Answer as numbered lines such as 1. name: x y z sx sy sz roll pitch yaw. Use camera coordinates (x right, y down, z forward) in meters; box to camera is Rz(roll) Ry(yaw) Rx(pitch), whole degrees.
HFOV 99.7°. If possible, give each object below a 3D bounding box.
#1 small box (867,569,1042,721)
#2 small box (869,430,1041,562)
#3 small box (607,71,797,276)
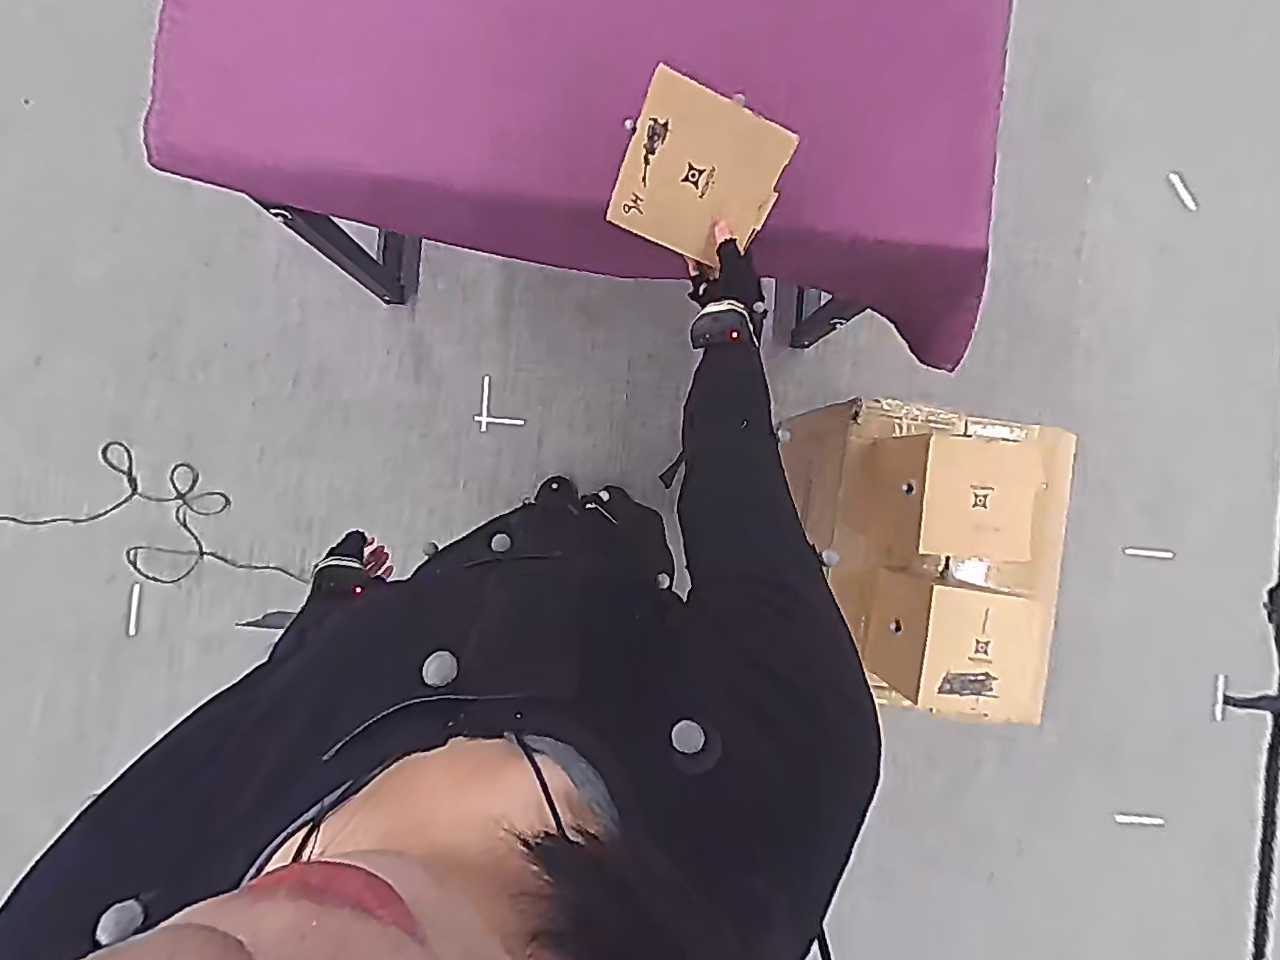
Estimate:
1. small box: 0.476 0.246 0.843 0.168 0.176 0.179 9 87 -3
2. small box: 0.478 0.023 0.846 0.168 0.176 0.179 6 91 -2
3. small box: 0.068 -0.394 0.698 0.179 0.176 0.168 18 123 -13
